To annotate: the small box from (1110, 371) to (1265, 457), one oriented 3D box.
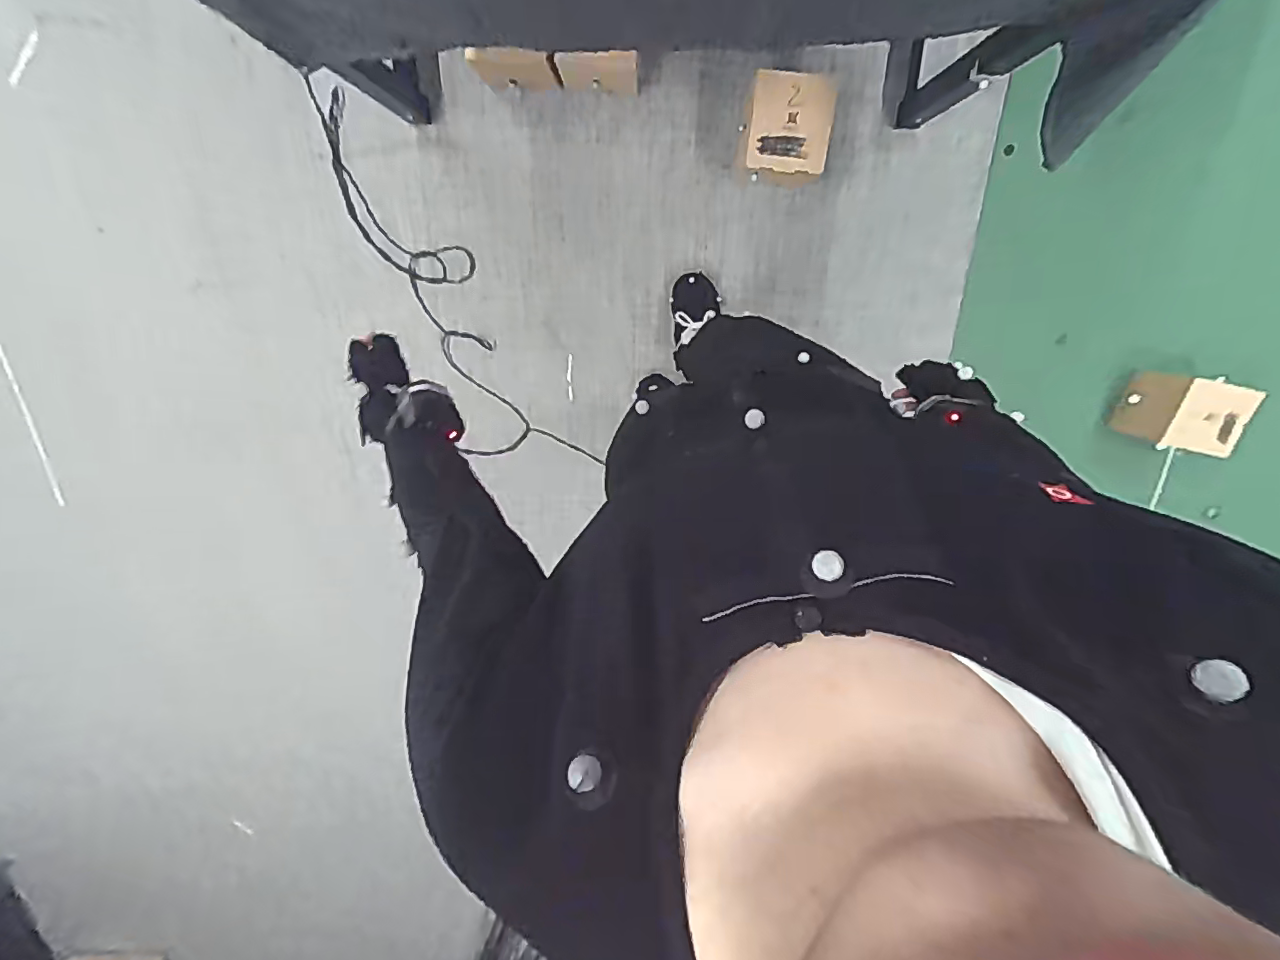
[{"bbox_3d":[1.355,-0.171,1.353,0.179,0.176,0.168,11,108,-2],"label":"small box"}]
